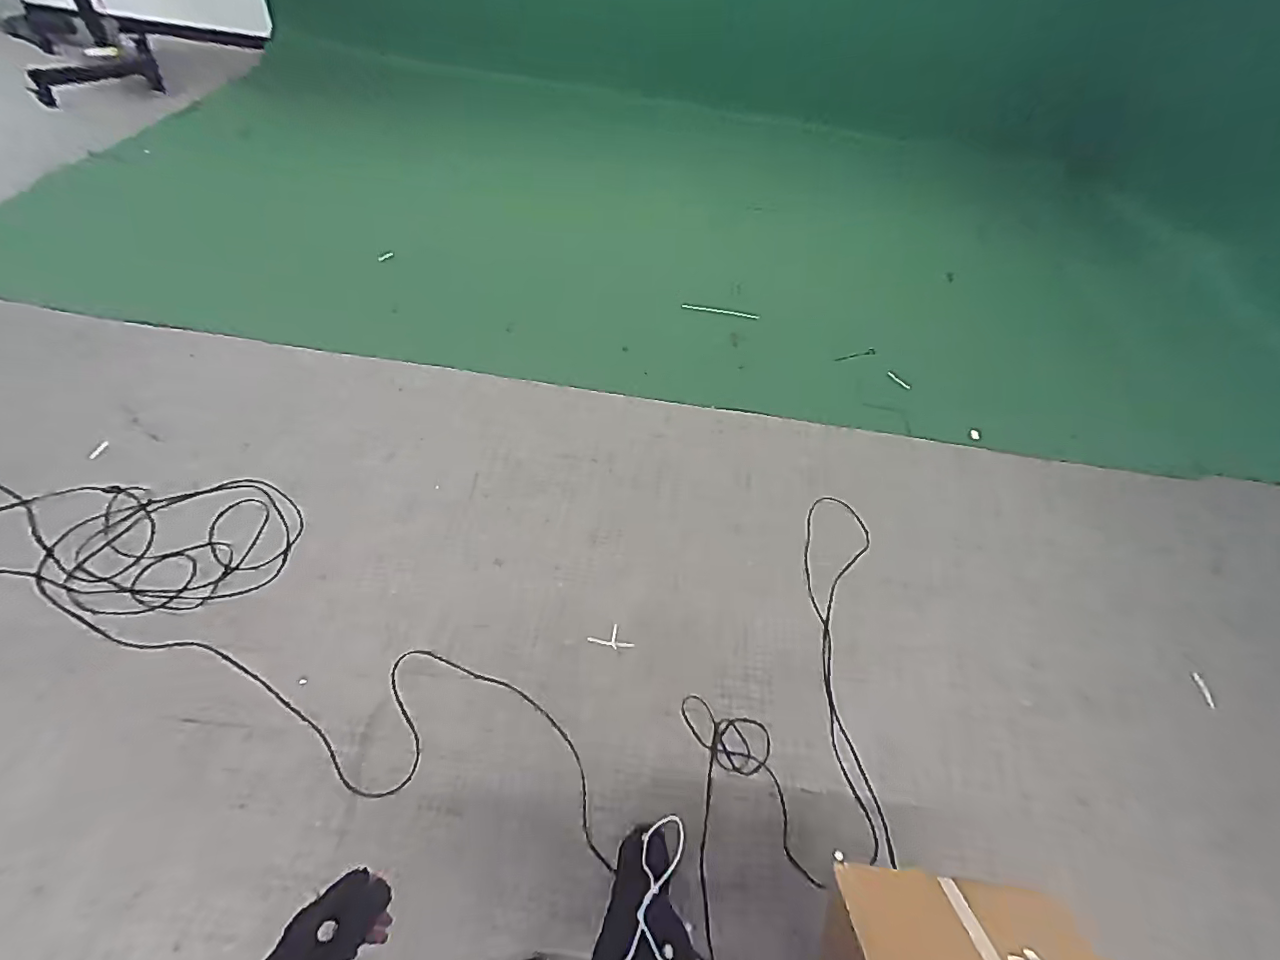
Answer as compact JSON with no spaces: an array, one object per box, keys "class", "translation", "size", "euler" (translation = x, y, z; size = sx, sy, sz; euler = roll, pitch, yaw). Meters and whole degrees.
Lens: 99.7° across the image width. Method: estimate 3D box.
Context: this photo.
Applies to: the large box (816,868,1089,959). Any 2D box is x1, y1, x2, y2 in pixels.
[{"class":"large box","translation":[0.403,0.755,0.609],"size":[0.320,0.408,0.320],"euler":[7,96,3]}]
